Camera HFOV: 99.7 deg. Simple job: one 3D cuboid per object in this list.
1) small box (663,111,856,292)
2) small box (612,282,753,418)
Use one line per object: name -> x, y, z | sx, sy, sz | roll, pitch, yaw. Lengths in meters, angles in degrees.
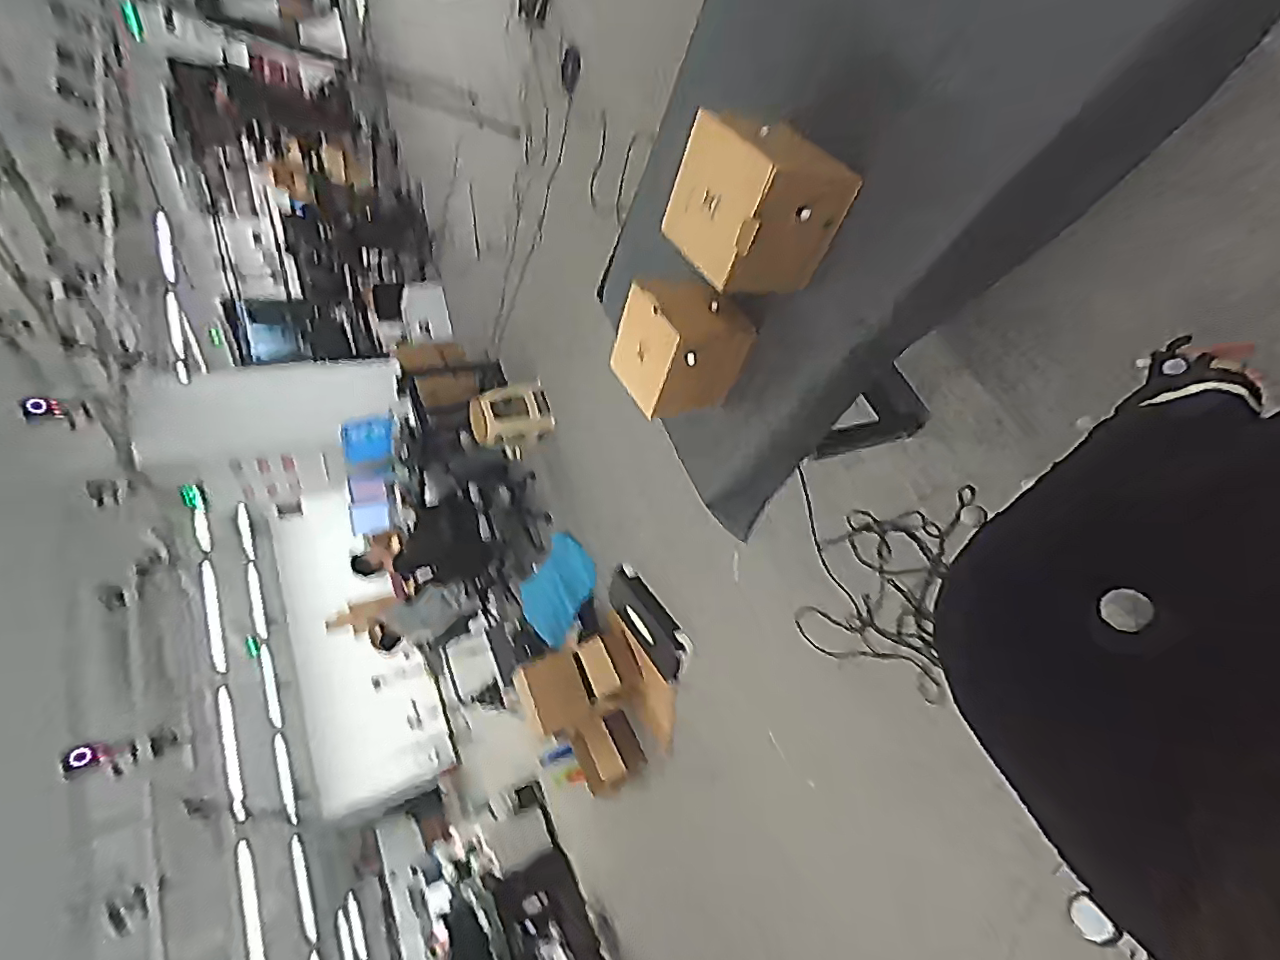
small box -> 0.165, -0.387, 0.767 | 0.179, 0.176, 0.168 | 59, 143, 31
small box -> 0.074, -0.235, 0.974 | 0.168, 0.176, 0.179 | 57, 143, 32
